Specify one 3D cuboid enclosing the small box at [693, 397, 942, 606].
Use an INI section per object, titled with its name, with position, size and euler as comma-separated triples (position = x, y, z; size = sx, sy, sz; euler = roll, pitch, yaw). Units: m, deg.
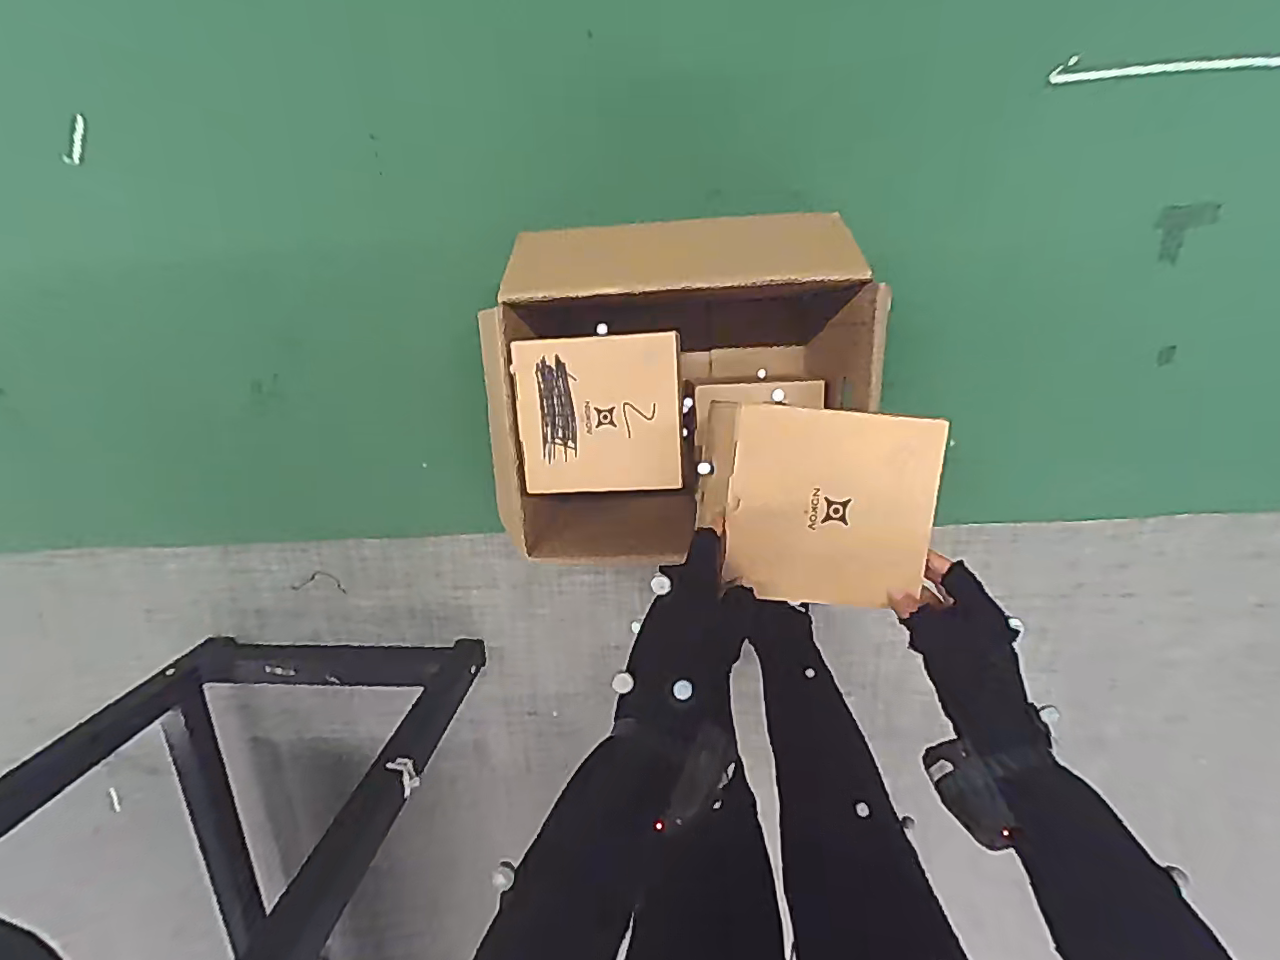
[small box]
position = 0.153, 0.009, 0.528
size = 0.179, 0.176, 0.168
euler = 4, 99, 0
